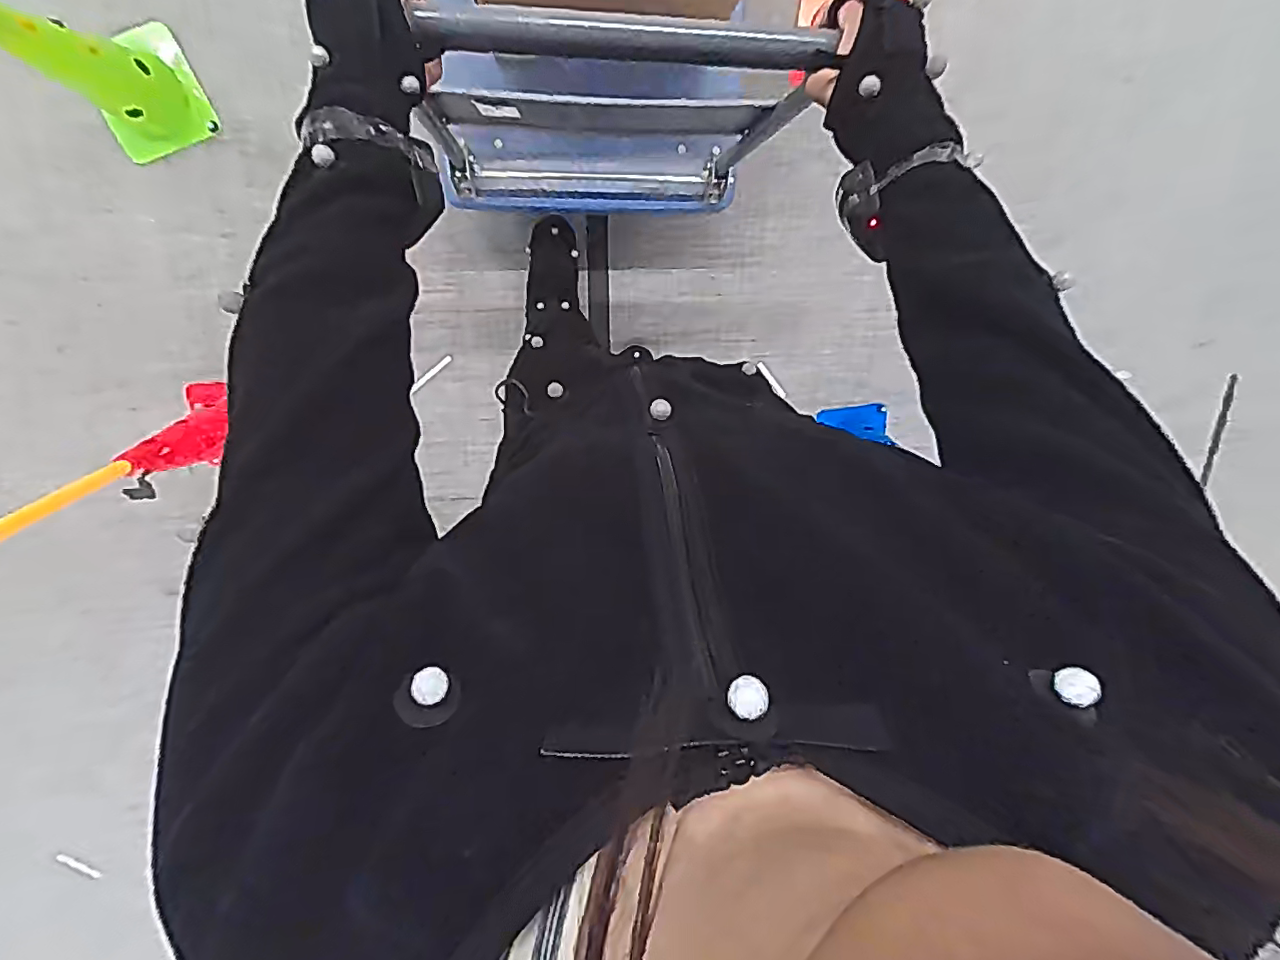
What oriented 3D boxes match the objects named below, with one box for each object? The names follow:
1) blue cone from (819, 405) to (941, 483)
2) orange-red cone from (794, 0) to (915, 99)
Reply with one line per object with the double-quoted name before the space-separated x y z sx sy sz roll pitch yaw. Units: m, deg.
"blue cone" 0.601 -0.055 1.323 0.193 0.380 0.192 -7 107 -5
"orange-red cone" 0.464 -0.902 1.015 0.199 0.360 0.198 3 108 -9
